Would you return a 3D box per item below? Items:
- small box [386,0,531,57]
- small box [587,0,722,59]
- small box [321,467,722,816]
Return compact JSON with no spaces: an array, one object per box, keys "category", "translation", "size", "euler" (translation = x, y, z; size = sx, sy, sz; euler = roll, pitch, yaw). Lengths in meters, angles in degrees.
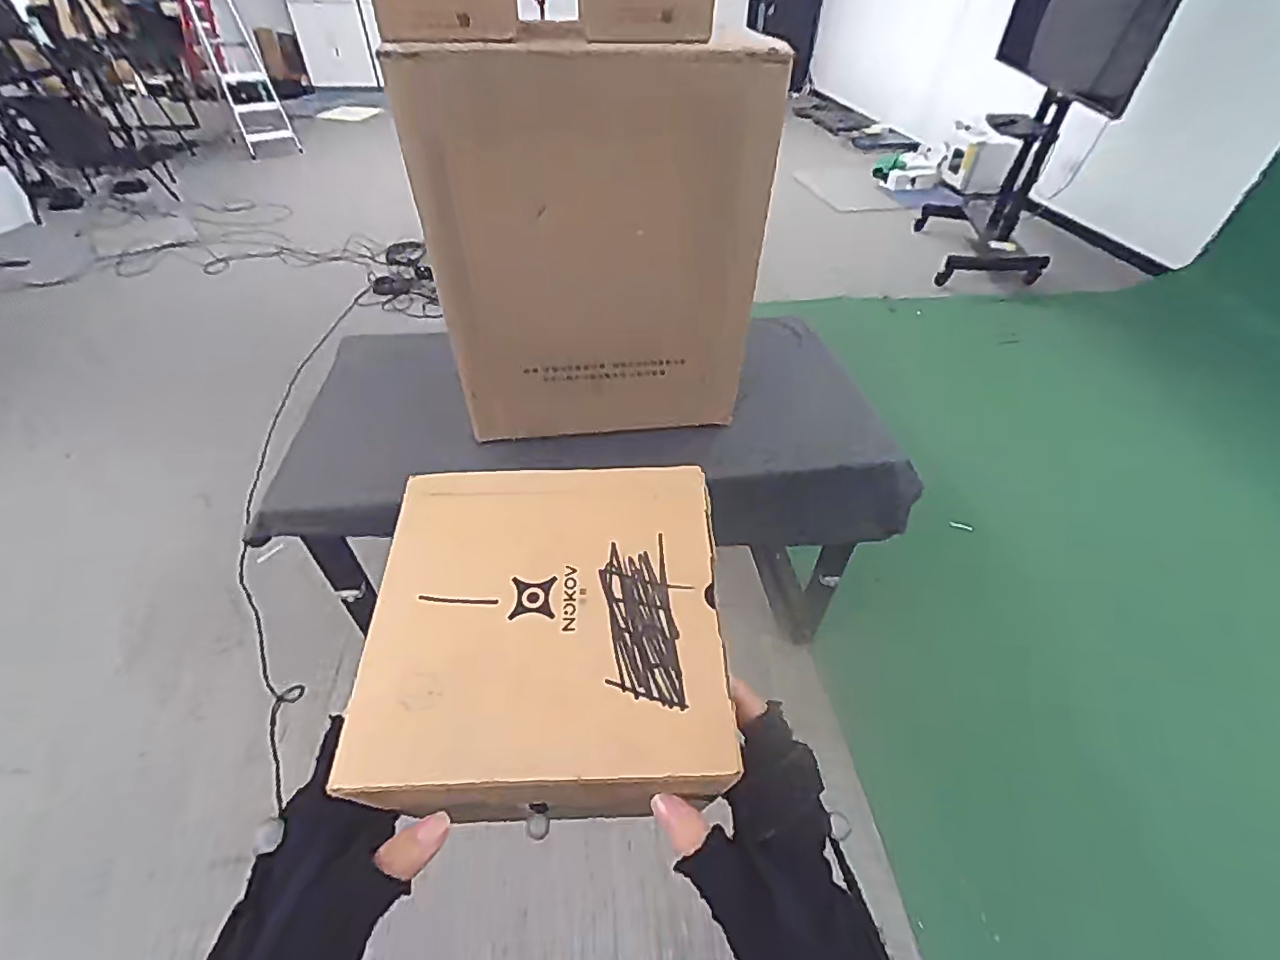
[{"category":"small box","translation":[-0.231,-0.651,0.682],"size":[0.168,0.176,0.179],"euler":[-4,46,-5]},{"category":"small box","translation":[0.016,-0.667,0.706],"size":[0.168,0.176,0.179],"euler":[-3,44,-7]},{"category":"small box","translation":[-0.053,0.108,0.343],"size":[0.179,0.176,0.168],"euler":[0,53,-1]}]
